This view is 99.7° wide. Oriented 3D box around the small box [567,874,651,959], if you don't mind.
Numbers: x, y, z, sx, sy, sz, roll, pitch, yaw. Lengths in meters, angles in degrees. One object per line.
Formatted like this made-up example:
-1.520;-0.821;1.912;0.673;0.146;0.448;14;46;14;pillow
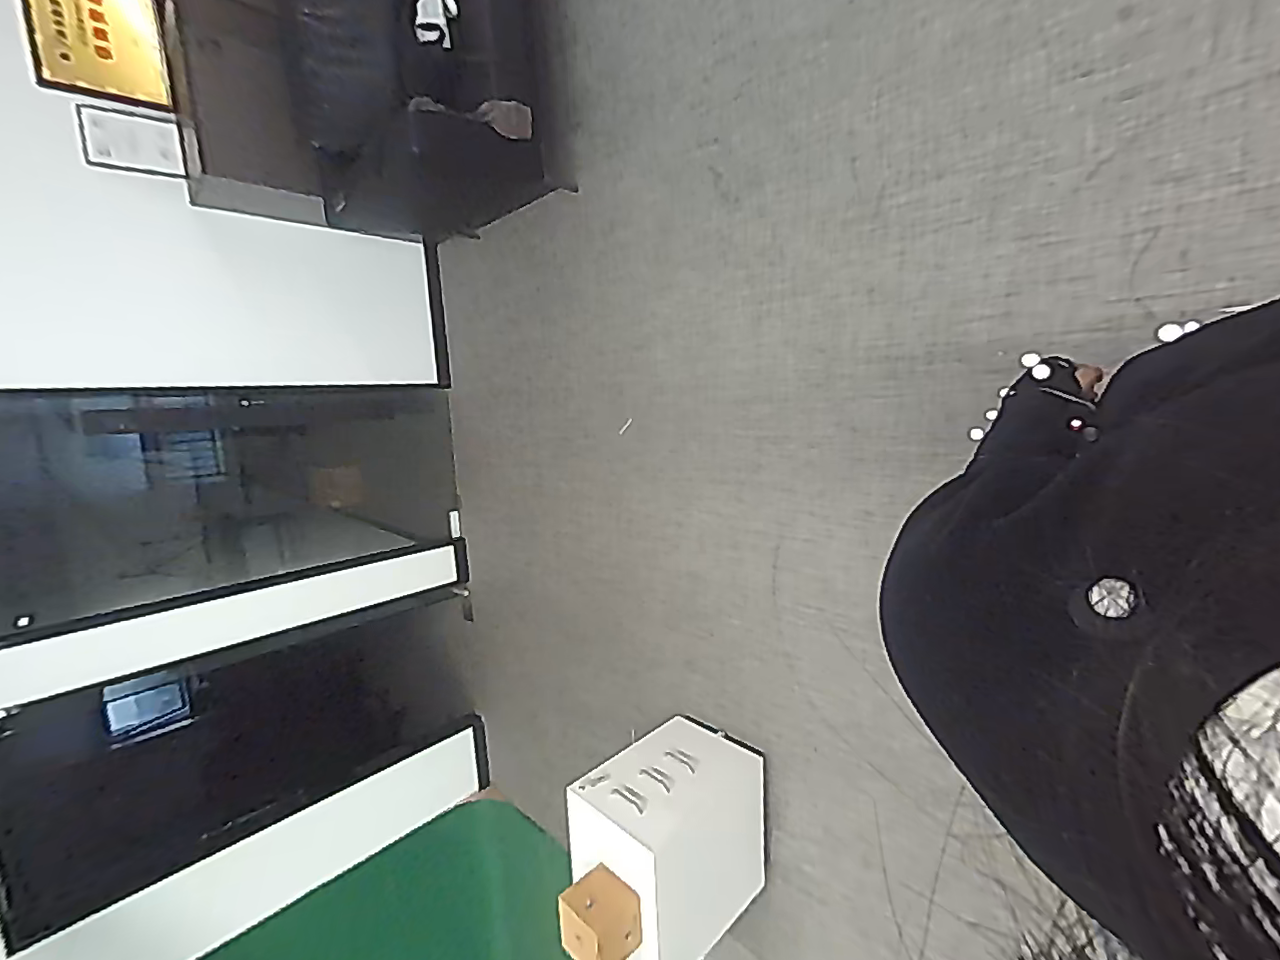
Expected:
-0.088;1.286;1.553;0.179;0.176;0.168;3;100;45;small box
